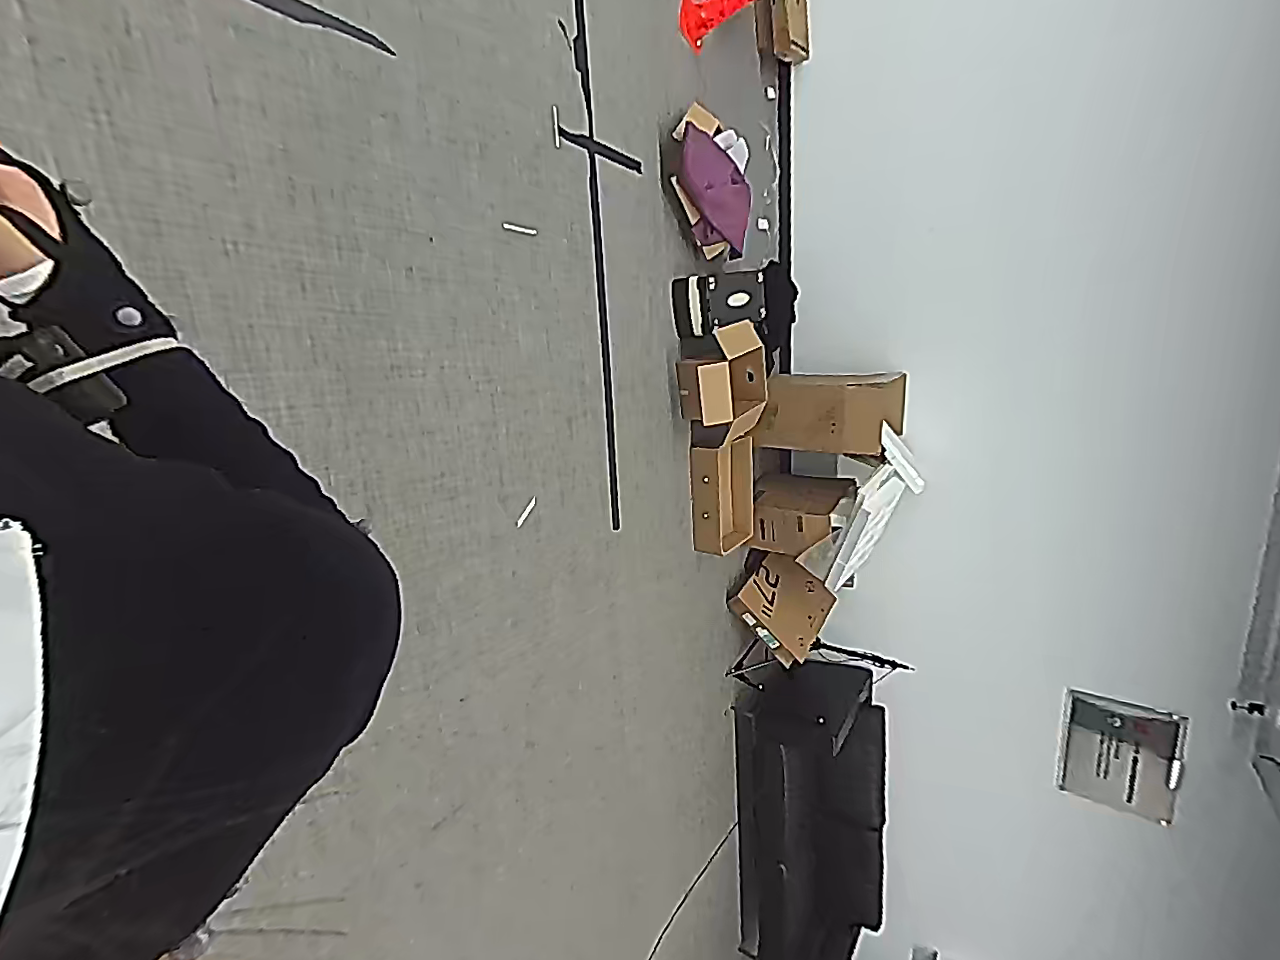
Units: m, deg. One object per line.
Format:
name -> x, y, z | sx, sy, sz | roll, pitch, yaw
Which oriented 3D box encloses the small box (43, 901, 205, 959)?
small box -> -0.614, 0.637, 0.621 | 0.168, 0.176, 0.179 | -19, 108, -53
